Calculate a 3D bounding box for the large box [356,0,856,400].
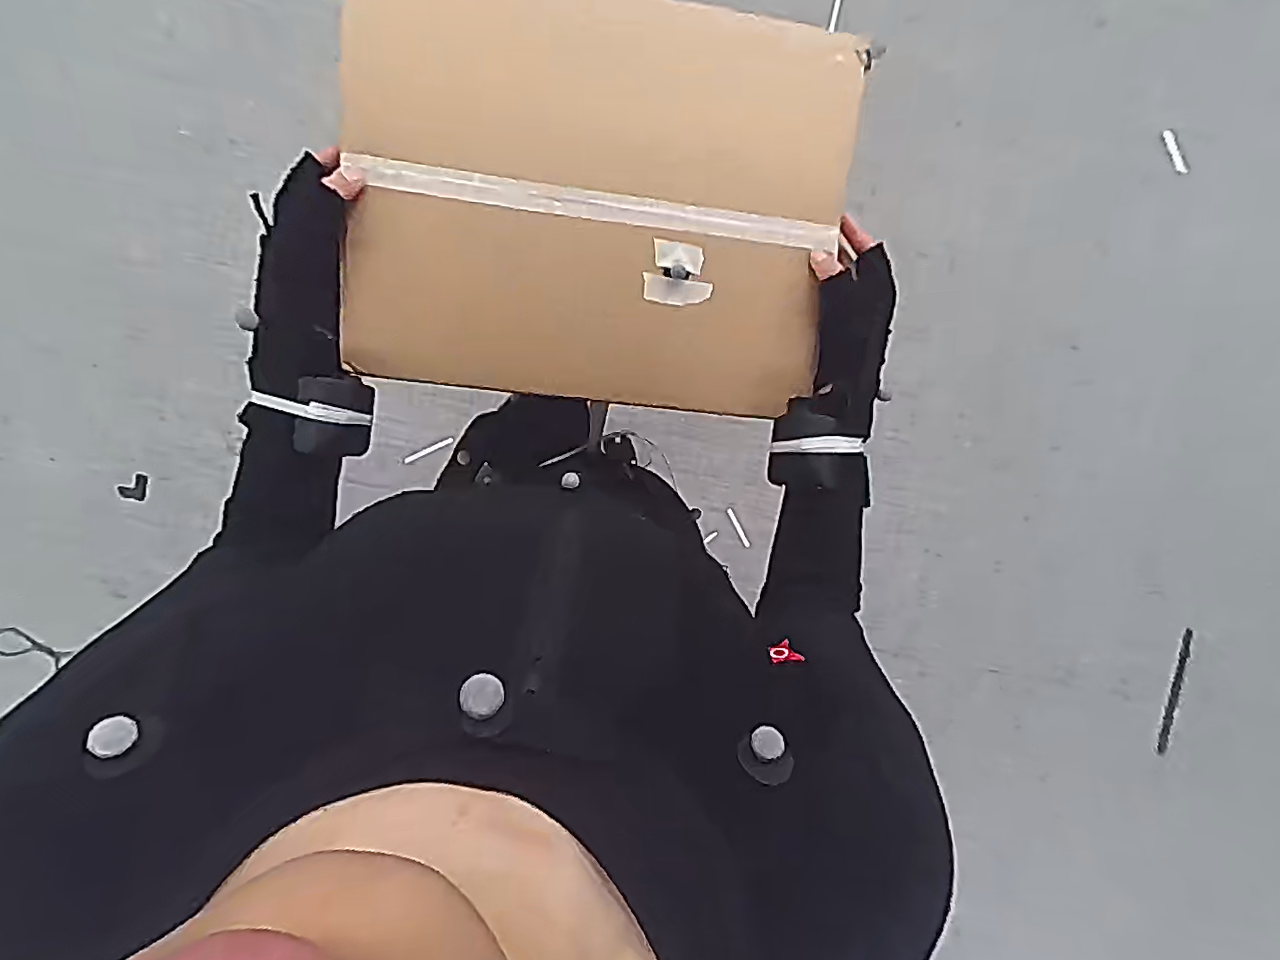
[{"bbox_3d":[-0.046,-0.266,0.598,0.408,0.320,0.320,4,102,-8],"label":"large box"}]
